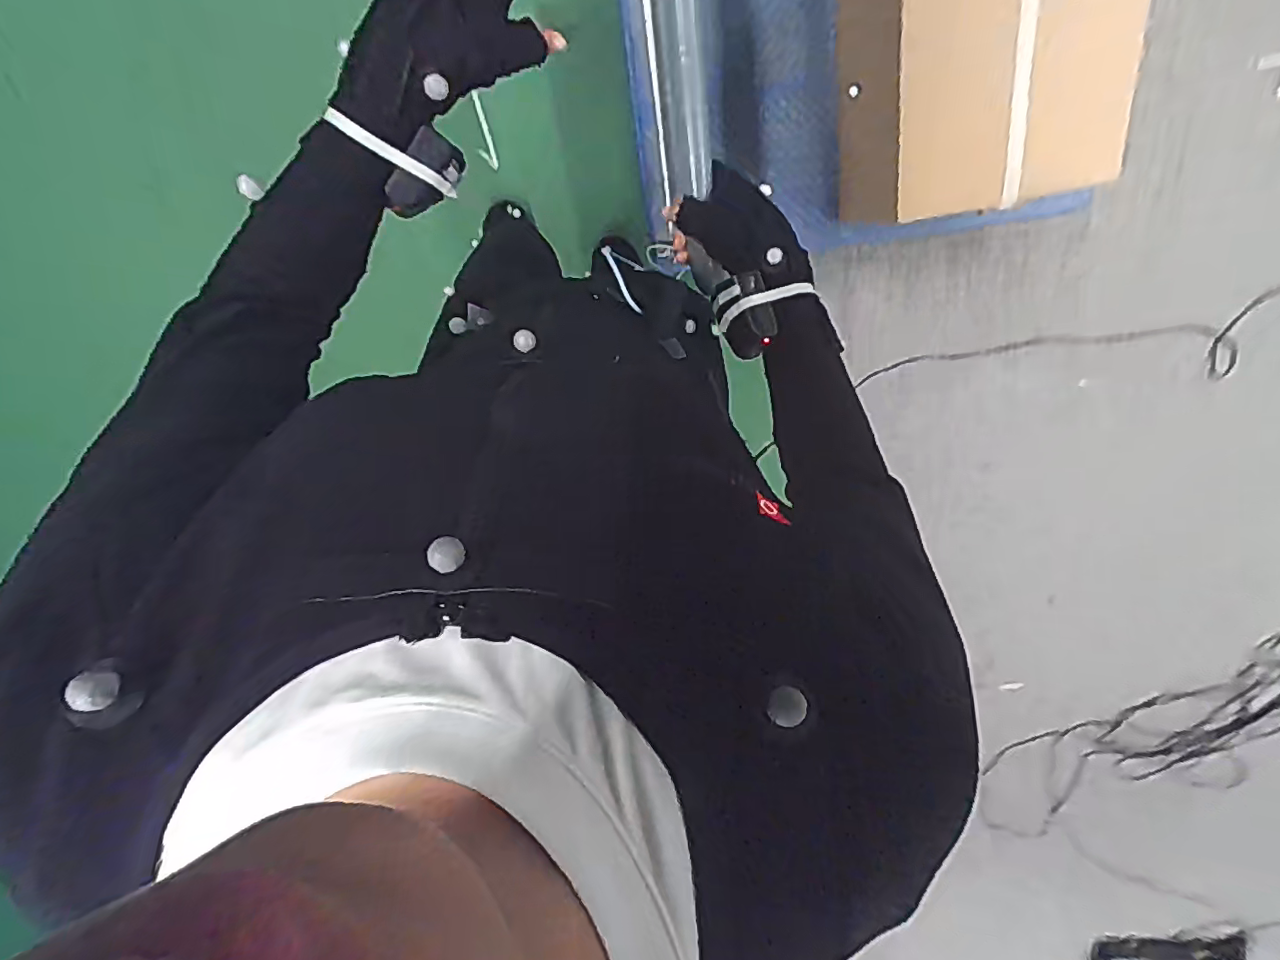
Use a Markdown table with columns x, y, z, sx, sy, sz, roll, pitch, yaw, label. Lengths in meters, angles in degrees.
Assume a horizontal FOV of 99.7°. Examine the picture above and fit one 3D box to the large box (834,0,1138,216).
| x | y | z | sx | sy | sz | roll | pitch | yaw | label |
| --- | --- | --- | --- | --- | --- | --- | --- | --- | --- |
| 0.509 | -0.669 | 0.858 | 0.320 | 0.320 | 0.408 | -9 | 115 | 6 | large box |
